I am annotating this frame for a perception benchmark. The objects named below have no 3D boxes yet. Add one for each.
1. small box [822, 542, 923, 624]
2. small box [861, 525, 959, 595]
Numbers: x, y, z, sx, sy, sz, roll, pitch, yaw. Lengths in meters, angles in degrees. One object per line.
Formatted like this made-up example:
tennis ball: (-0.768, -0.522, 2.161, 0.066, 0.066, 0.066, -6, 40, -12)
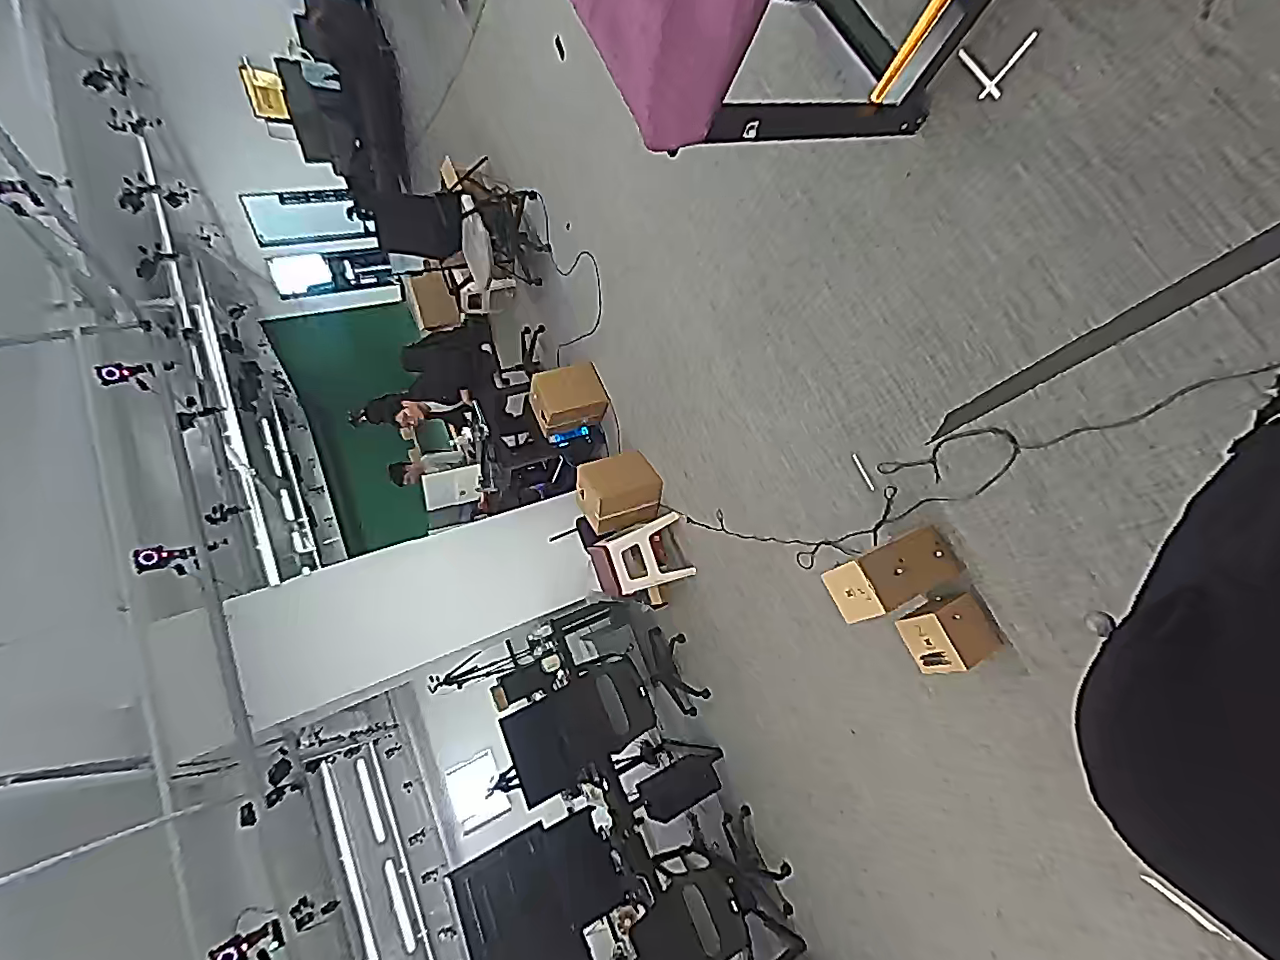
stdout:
small box: (0.679, 0.303, 1.582, 0.168, 0.176, 0.179, 64, 154, 15)
small box: (0.822, 0.256, 1.651, 0.168, 0.176, 0.179, 65, 154, 14)
